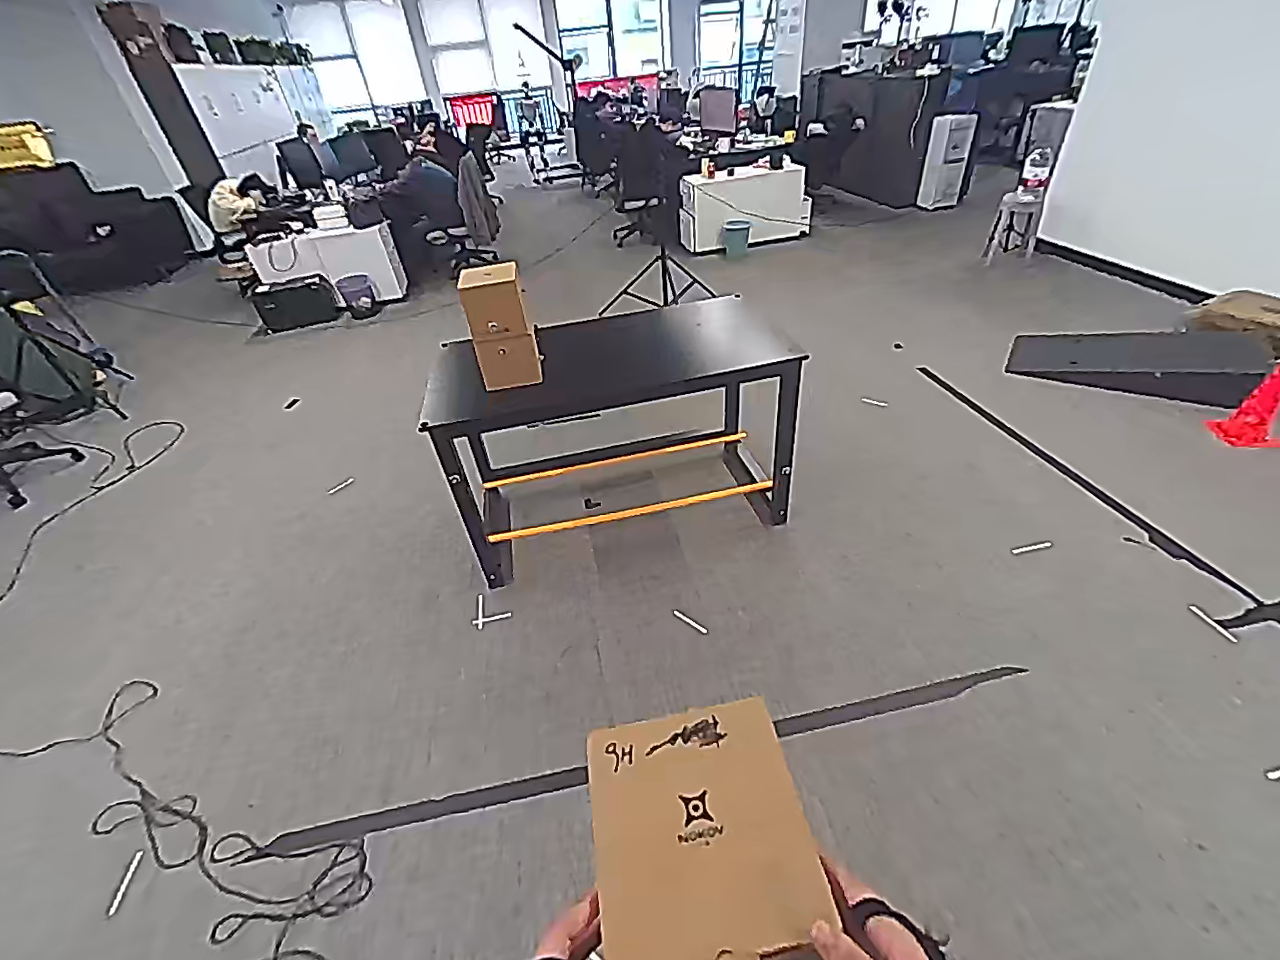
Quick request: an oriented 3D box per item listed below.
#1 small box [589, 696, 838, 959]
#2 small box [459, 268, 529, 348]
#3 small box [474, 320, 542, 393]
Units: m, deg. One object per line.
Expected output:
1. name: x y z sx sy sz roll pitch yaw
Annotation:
1. small box: 0.056 0.327 0.479 0.168 0.176 0.179 -11 41 -2
2. small box: -0.436 -0.519 1.633 0.168 0.176 0.179 -12 39 -5
3. small box: -0.419 -0.393 1.734 0.179 0.176 0.168 -10 38 -6
